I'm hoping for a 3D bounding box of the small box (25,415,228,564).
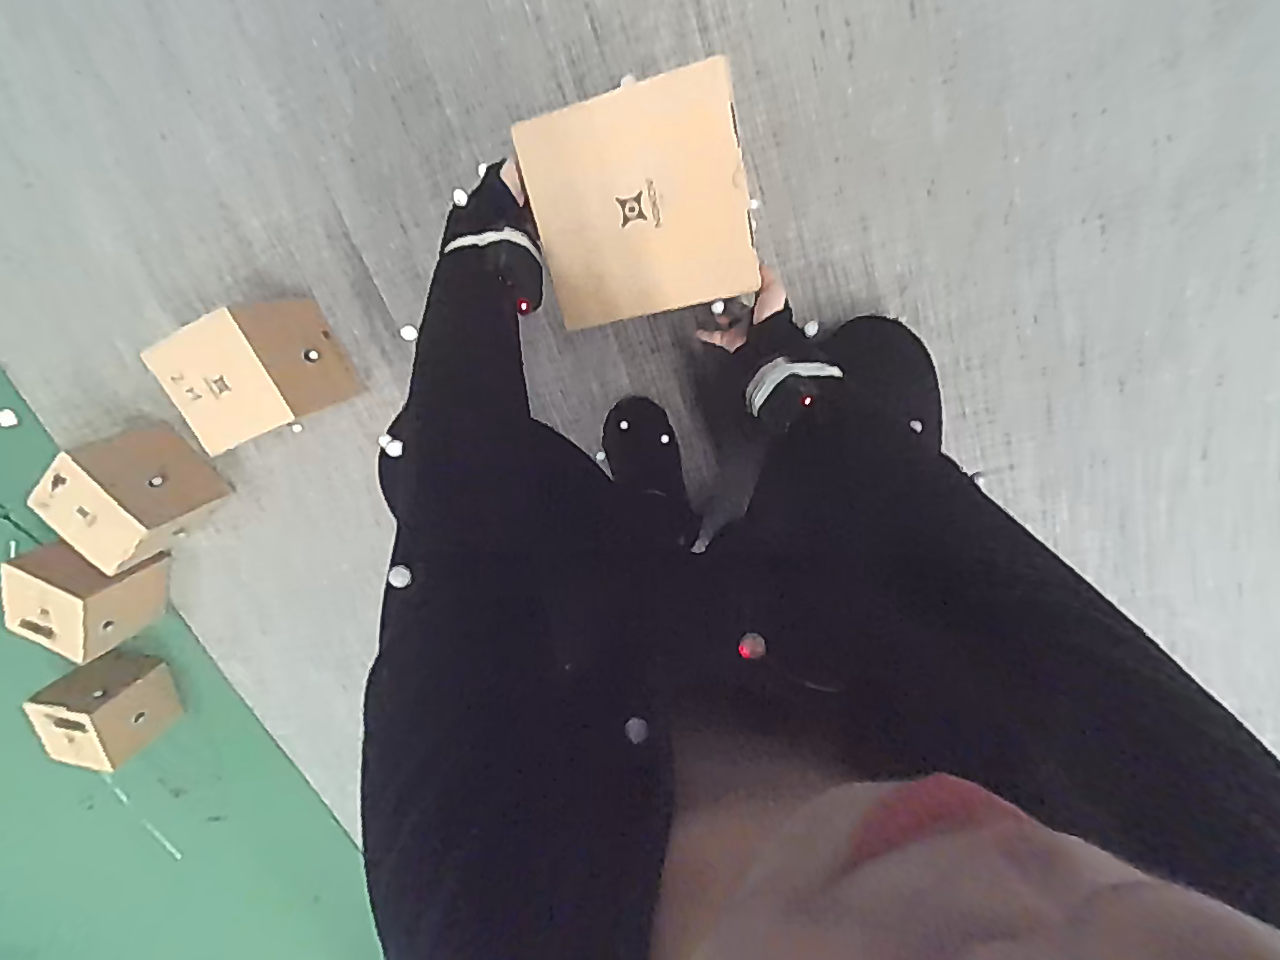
[{"bbox_3d":[-0.900,0.011,0.965,0.168,0.176,0.179,-34,104,21],"label":"small box"}]

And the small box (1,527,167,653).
[{"bbox_3d":[-1.100,0.200,1.083,0.168,0.176,0.179,27,114,-2],"label":"small box"}]

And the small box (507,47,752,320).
[{"bbox_3d":[0.006,-0.258,0.509,0.179,0.176,0.168,-9,112,13],"label":"small box"}]

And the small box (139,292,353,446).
[{"bbox_3d":[-0.577,-0.176,0.825,0.179,0.176,0.168,-17,108,16],"label":"small box"}]
